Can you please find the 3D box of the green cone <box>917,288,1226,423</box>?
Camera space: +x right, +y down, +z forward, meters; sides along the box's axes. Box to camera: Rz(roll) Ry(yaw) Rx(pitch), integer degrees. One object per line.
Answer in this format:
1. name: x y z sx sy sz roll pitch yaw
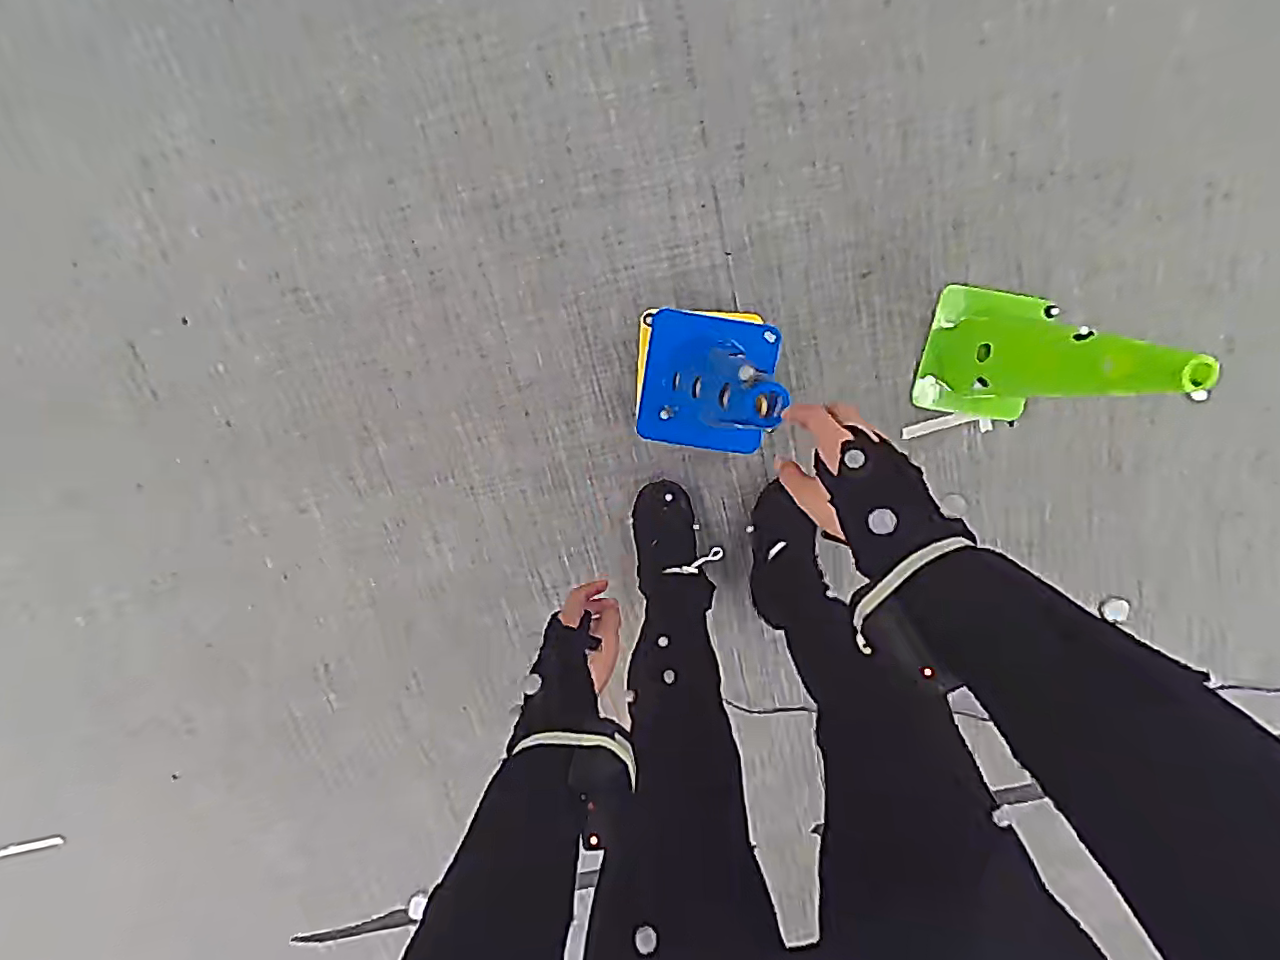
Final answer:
1. green cone: 0.579 -0.152 0.728 0.200 0.368 0.202 7 107 -4
